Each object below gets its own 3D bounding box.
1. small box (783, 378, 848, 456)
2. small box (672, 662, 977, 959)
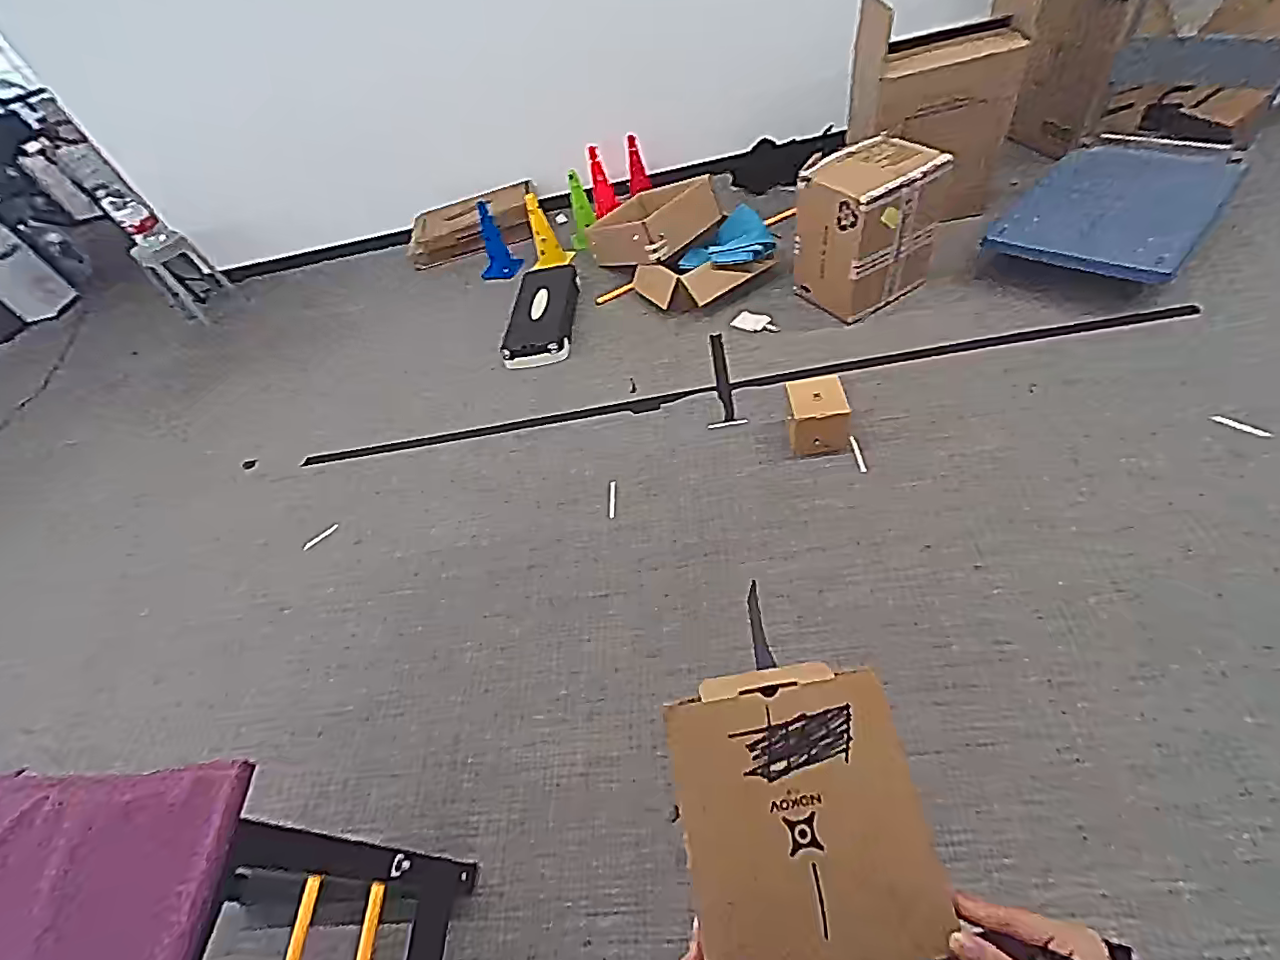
[{"bbox_3d":[0.559,-0.202,1.744,0.168,0.176,0.179,-7,50,8],"label":"small box"},{"bbox_3d":[0.119,0.259,0.437,0.168,0.176,0.179,-10,65,0],"label":"small box"}]
